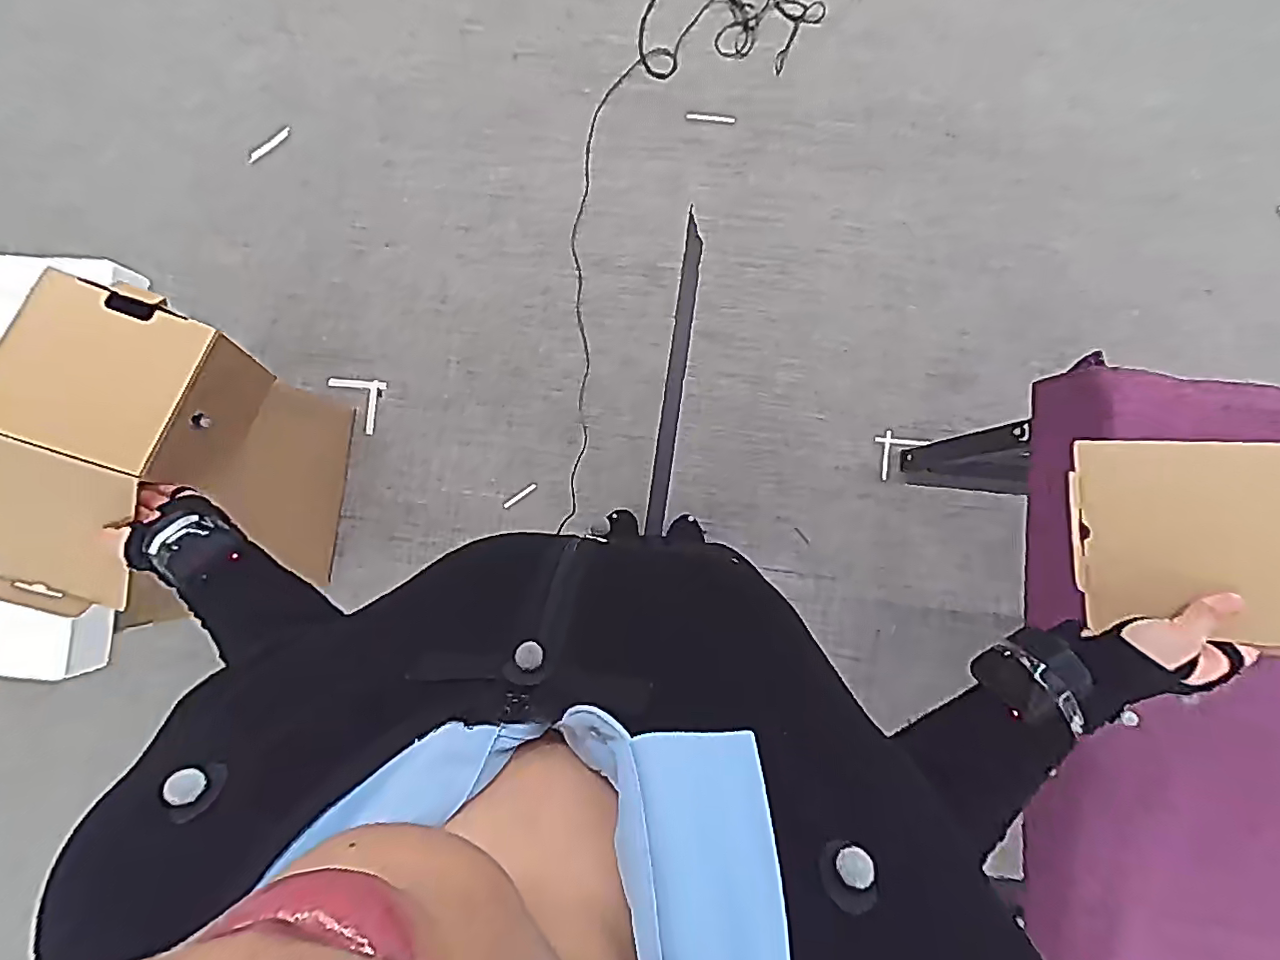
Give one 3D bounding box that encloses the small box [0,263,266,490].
[{"bbox_3d":[-0.568,-0.098,0.612,0.168,0.176,0.179,21,77,-12],"label":"small box"}]
